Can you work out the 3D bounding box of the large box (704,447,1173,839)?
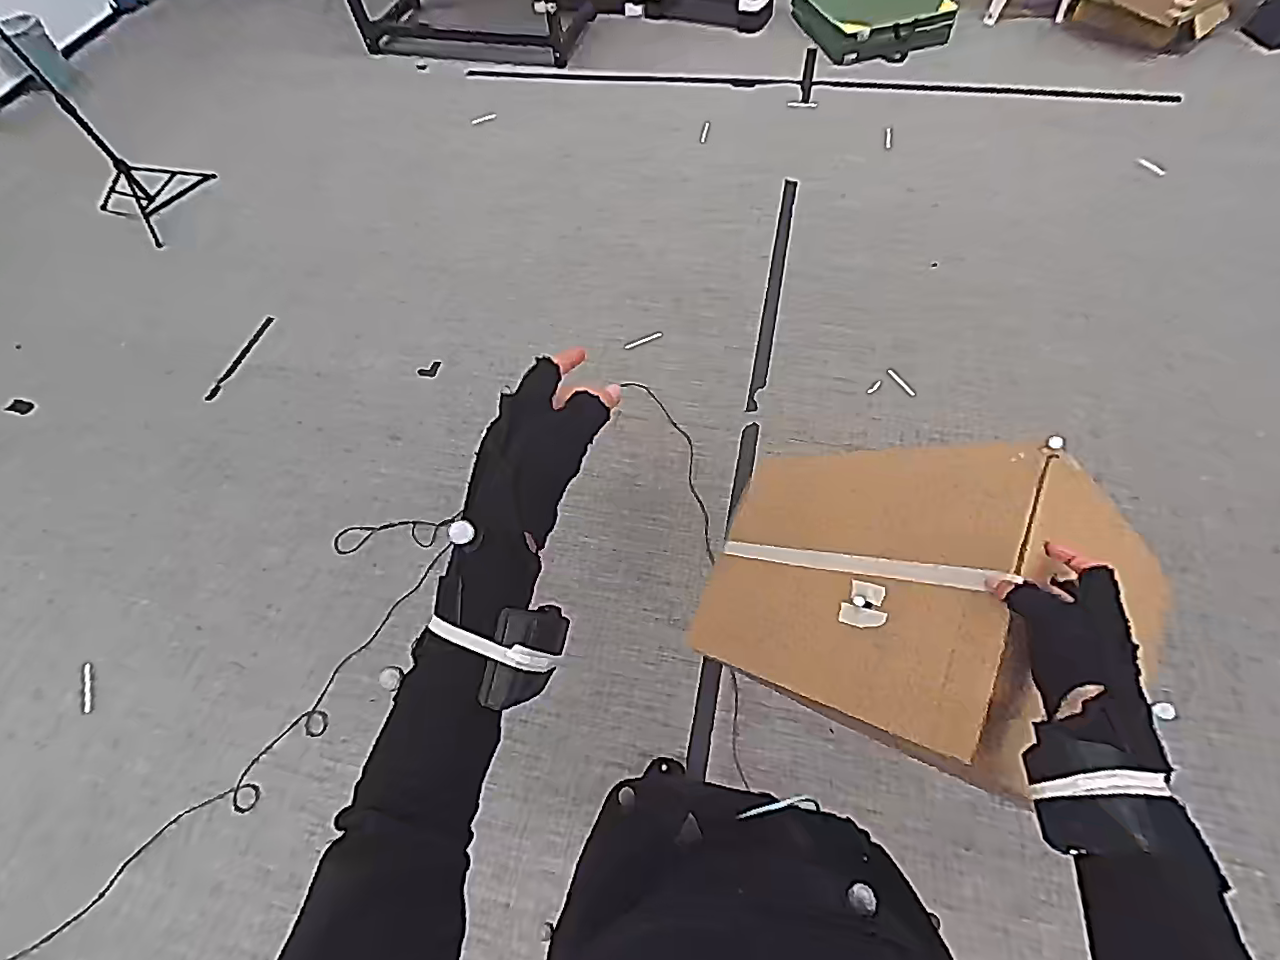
[{"bbox_3d":[0.364,0.182,0.719,0.320,0.408,0.320,33,74,-23],"label":"large box"}]
